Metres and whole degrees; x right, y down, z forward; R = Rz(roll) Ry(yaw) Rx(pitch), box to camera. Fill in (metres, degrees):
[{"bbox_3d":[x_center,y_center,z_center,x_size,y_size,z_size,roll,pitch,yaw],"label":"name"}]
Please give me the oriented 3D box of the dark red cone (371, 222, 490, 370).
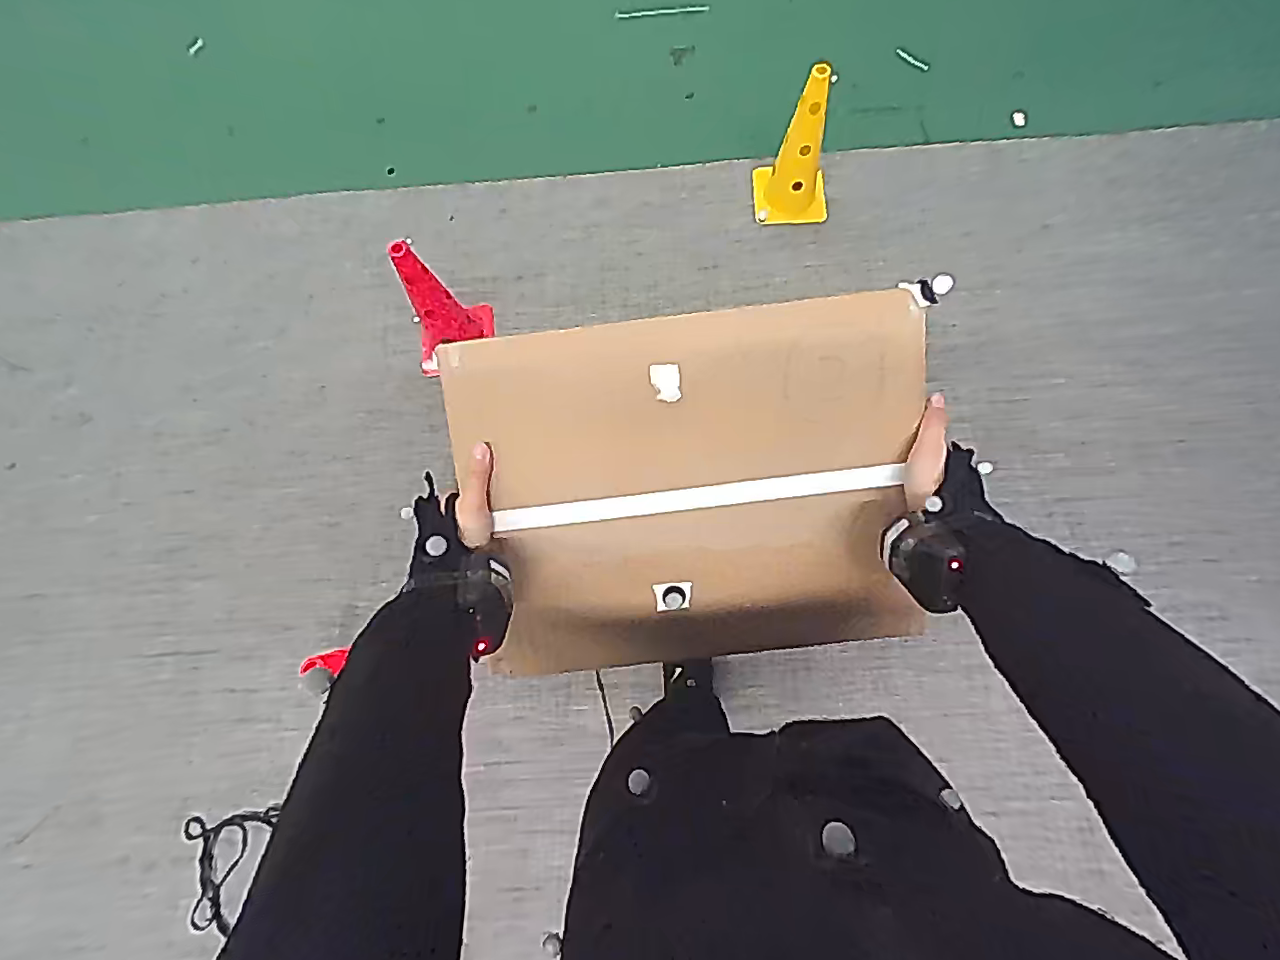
[{"bbox_3d":[-0.513,-0.448,1.290,0.202,0.394,0.201,-11,69,1],"label":"dark red cone"}]
